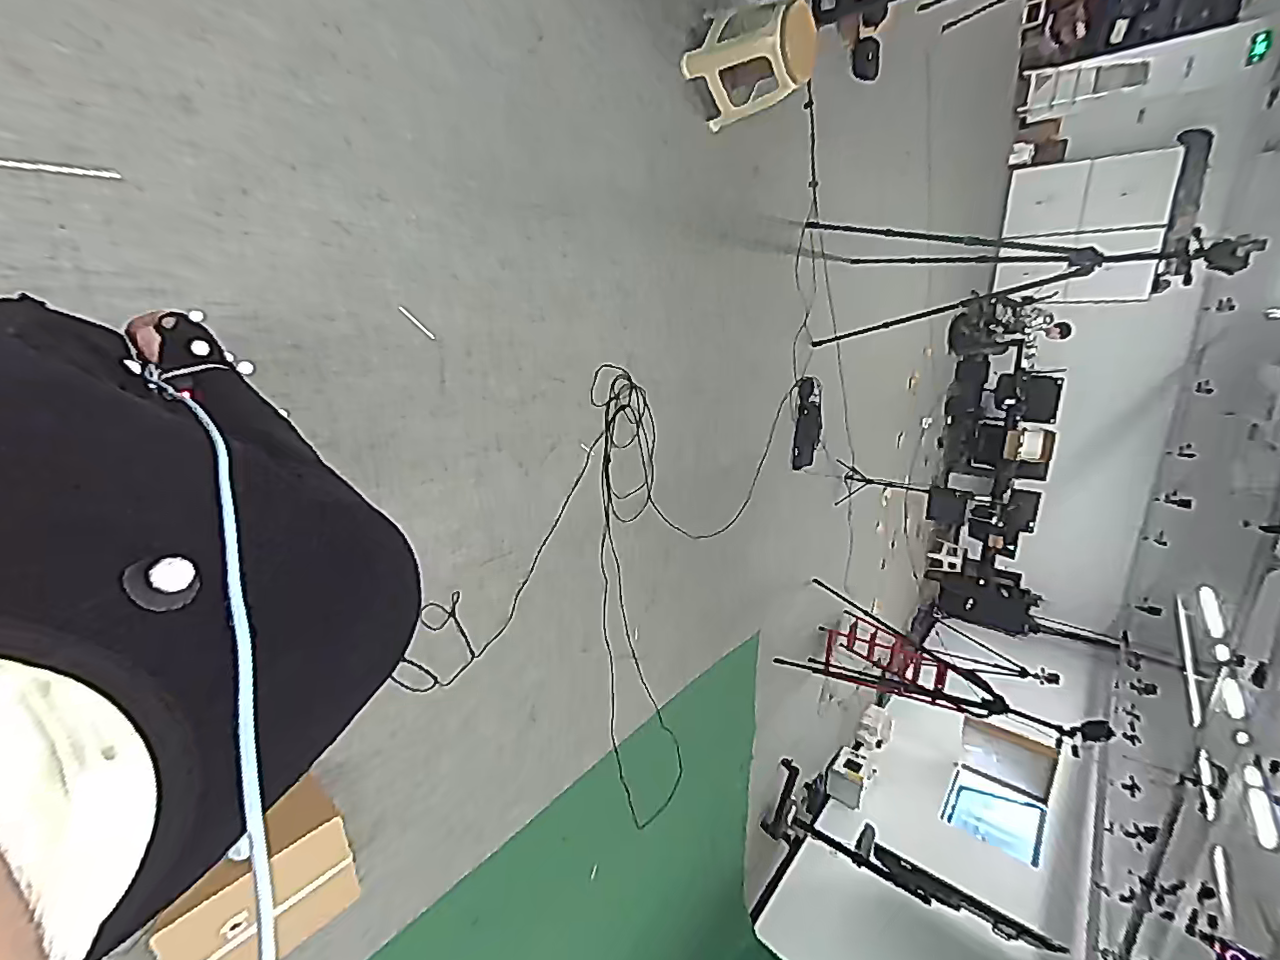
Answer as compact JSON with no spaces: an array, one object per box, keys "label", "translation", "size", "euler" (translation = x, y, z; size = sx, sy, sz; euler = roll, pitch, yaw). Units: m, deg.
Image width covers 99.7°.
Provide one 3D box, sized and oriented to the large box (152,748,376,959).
[{"label":"large box","translation":[-1.014,1.041,1.484],"size":[0.408,0.320,0.320],"euler":[-21,115,-44]}]
